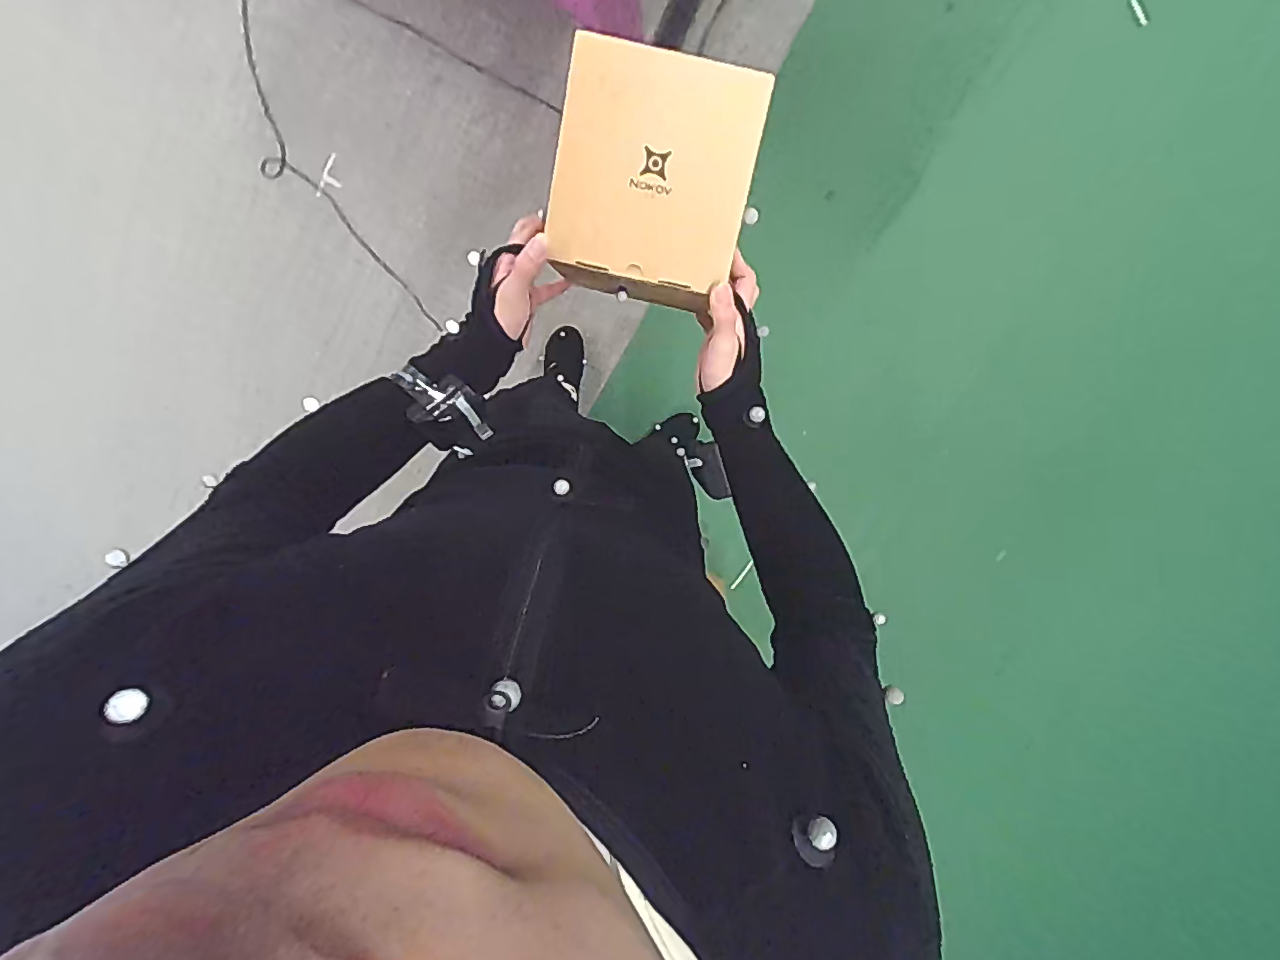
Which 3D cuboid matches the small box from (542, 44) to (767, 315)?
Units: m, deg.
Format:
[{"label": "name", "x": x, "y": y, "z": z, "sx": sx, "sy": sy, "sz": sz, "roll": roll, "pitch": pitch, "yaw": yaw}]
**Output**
[{"label": "small box", "x": 0.009, "y": -0.270, "z": 0.532, "sx": 0.168, "sy": 0.176, "sz": 0.179, "roll": 10, "pitch": 103, "yaw": -2}]
